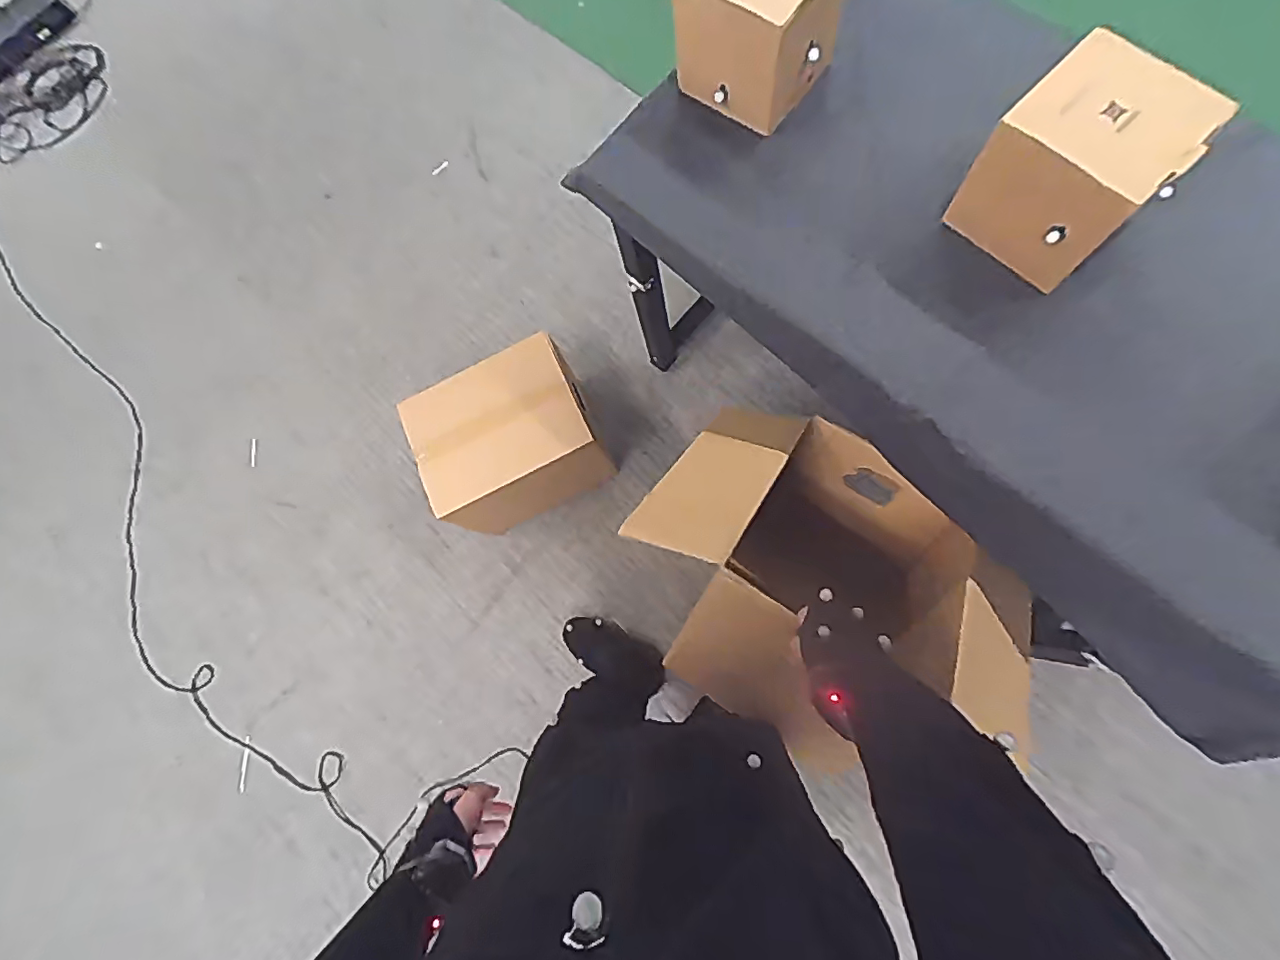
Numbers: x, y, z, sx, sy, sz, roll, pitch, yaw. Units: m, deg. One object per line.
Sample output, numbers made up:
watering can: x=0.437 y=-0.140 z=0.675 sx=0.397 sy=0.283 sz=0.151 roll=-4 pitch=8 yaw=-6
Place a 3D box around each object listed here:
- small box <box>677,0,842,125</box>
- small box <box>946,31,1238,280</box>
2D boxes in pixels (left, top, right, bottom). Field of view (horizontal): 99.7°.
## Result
small box: x=0.172 y=-0.655 z=0.769 sx=0.179 sy=0.176 sz=0.168 roll=37 pitch=85 yaw=12
small box: x=0.528 y=-0.379 z=0.664 sx=0.168 sy=0.176 sz=0.179 roll=-44 pitch=75 yaw=-4
